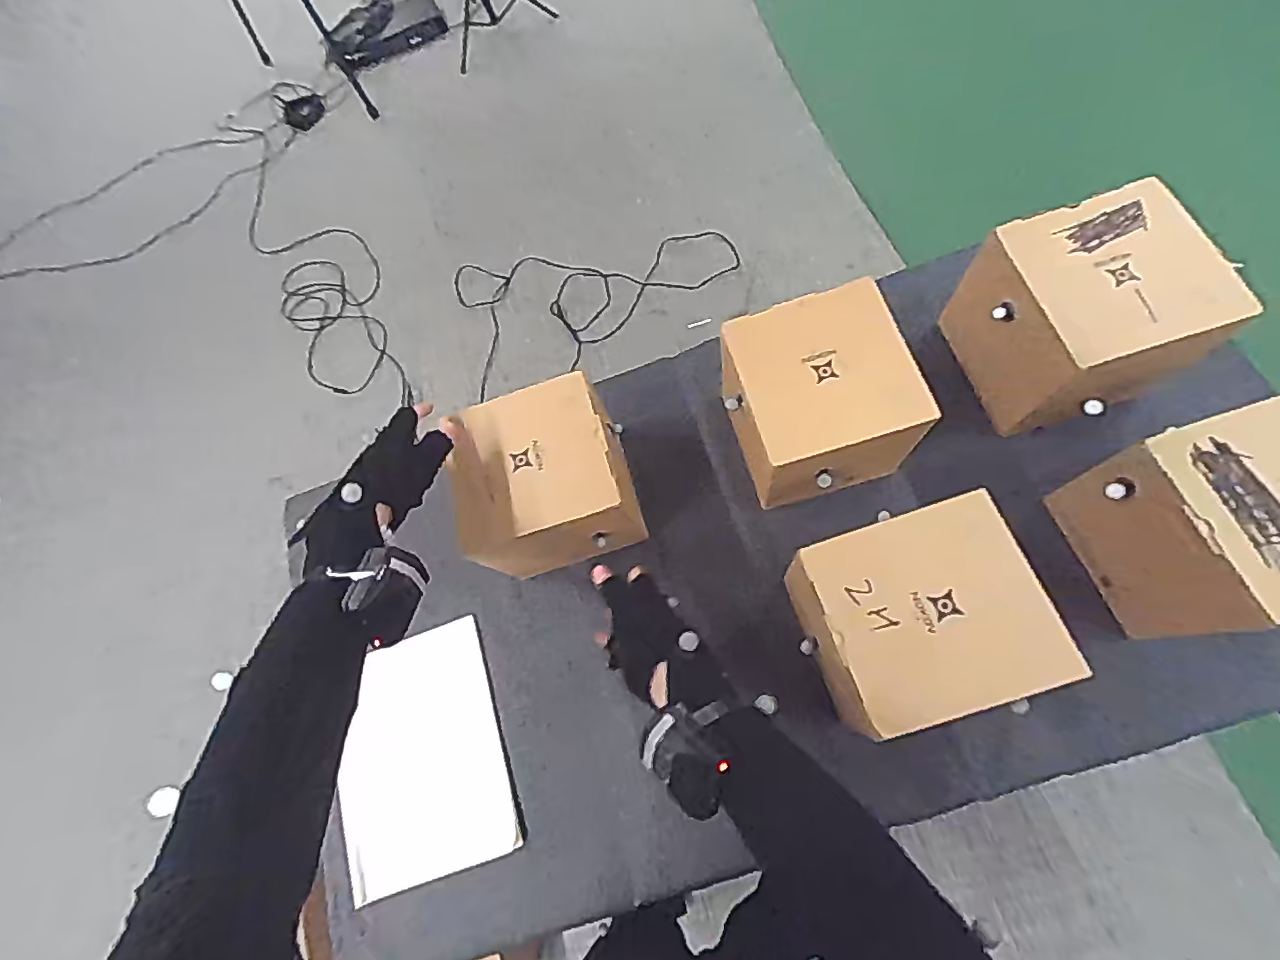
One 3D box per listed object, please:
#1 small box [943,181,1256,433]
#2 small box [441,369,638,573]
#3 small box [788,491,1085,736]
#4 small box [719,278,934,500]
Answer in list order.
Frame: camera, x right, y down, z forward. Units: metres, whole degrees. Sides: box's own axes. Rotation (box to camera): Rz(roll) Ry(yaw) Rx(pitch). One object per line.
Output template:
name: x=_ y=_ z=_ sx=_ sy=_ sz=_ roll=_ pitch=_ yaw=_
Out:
small box: x=0.472 y=-0.178 z=0.597 sx=0.168 sy=0.176 sz=0.179 roll=-17 pitch=70 yaw=5
small box: x=-0.106 y=0.000 z=0.642 sx=0.179 sy=0.176 sz=0.168 roll=-17 pitch=69 yaw=3
small box: x=0.260 y=0.132 z=0.529 sx=0.179 sy=0.176 sz=0.168 roll=-19 pitch=68 yaw=4
small box: x=0.197 y=-0.088 z=0.619 sx=0.168 sy=0.176 sz=0.179 roll=-17 pitch=69 yaw=5
